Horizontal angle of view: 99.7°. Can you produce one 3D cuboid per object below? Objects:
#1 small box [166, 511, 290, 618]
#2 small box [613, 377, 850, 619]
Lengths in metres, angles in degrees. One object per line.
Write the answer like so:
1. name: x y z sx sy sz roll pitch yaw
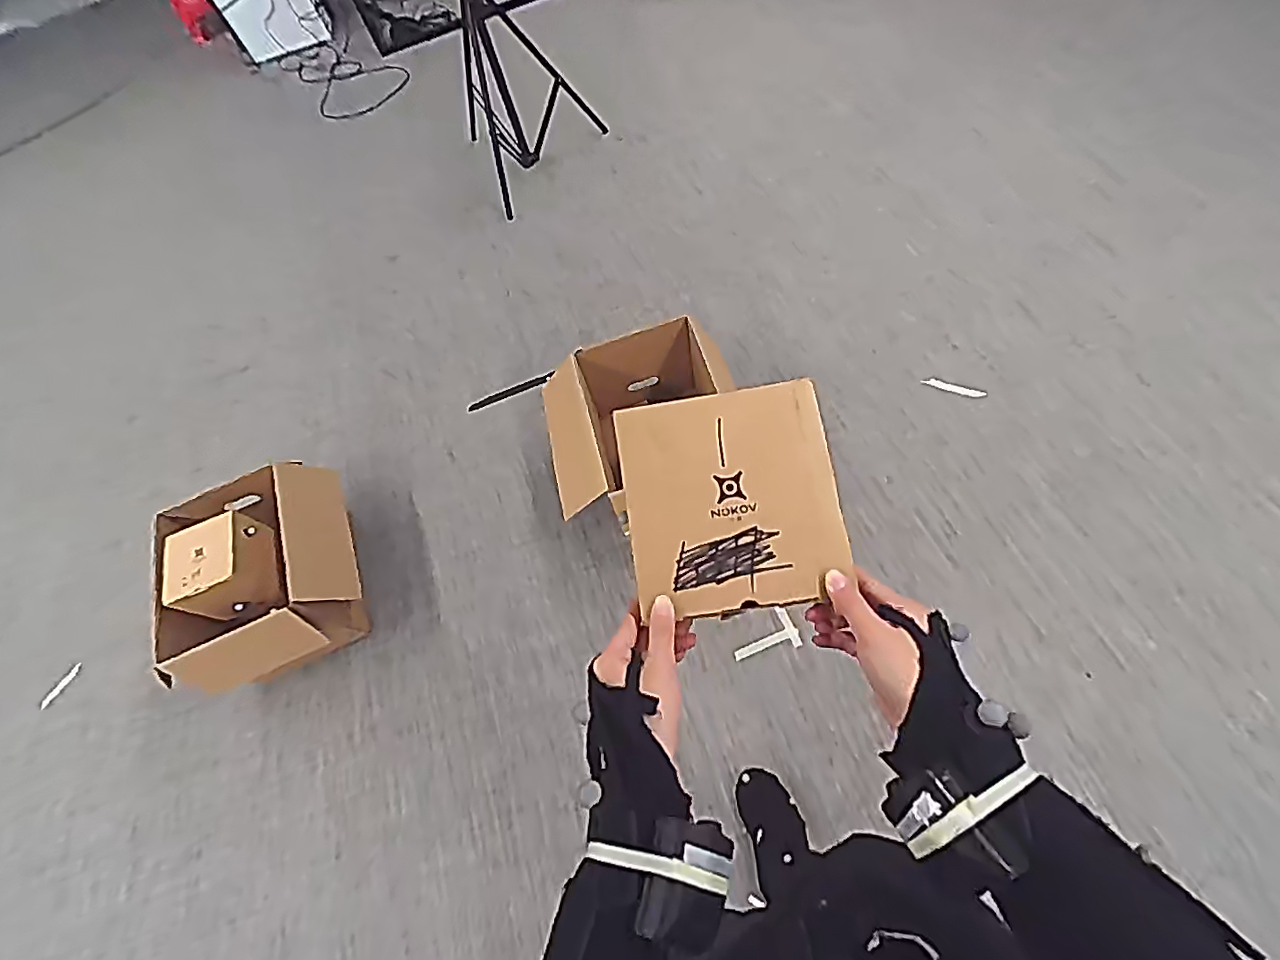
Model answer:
1. small box: -0.969 0.206 1.284 0.168 0.176 0.179 -23 63 -1
2. small box: 0.075 0.027 0.504 0.168 0.176 0.179 -9 77 3
